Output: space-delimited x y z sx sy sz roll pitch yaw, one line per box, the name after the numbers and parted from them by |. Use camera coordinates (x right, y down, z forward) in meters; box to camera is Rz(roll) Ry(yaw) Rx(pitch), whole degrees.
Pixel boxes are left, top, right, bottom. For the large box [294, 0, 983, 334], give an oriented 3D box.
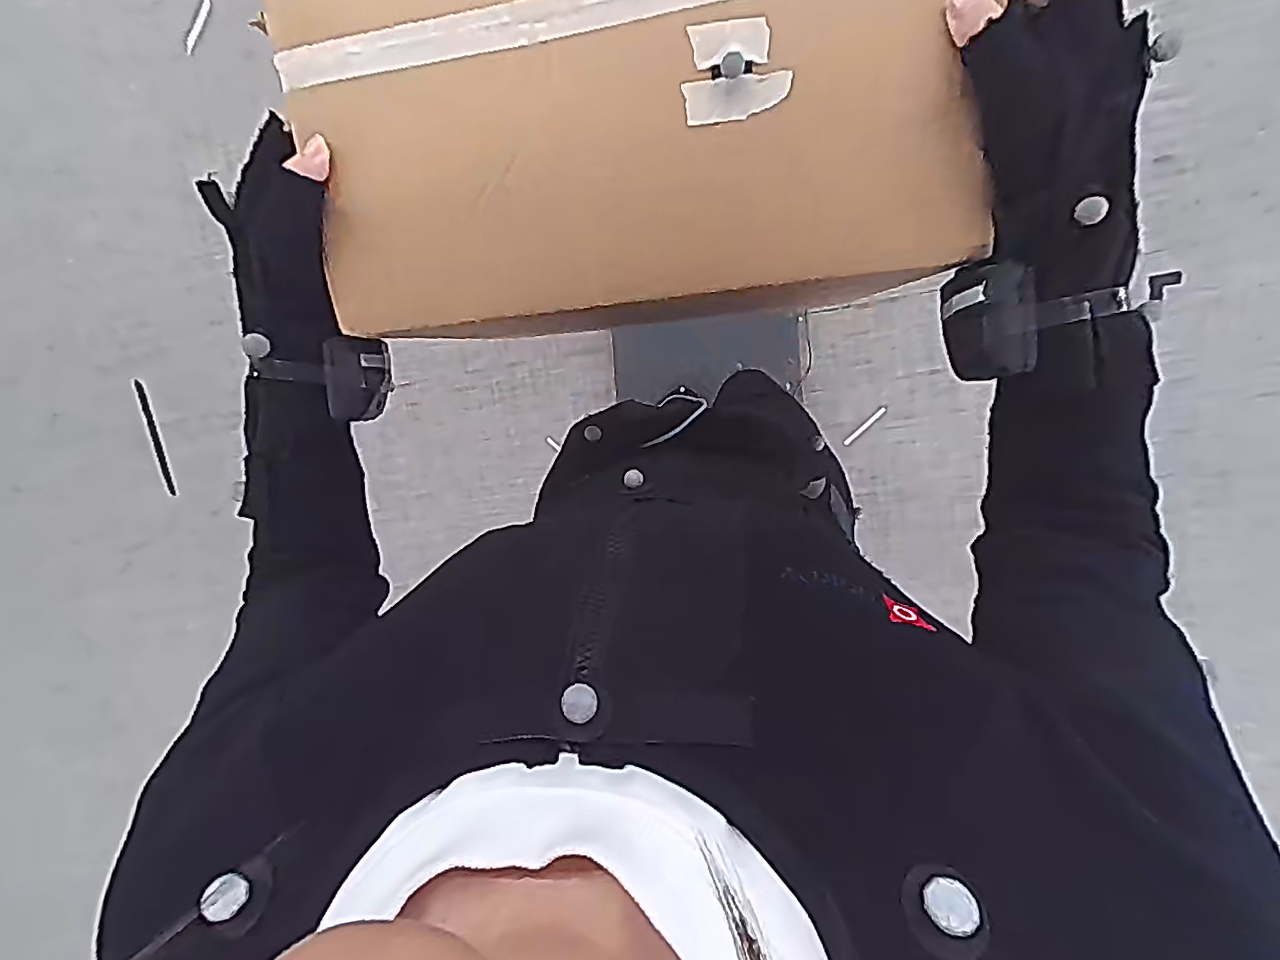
0.003 -0.308 0.456 0.408 0.320 0.320 -5 104 8 | large box
